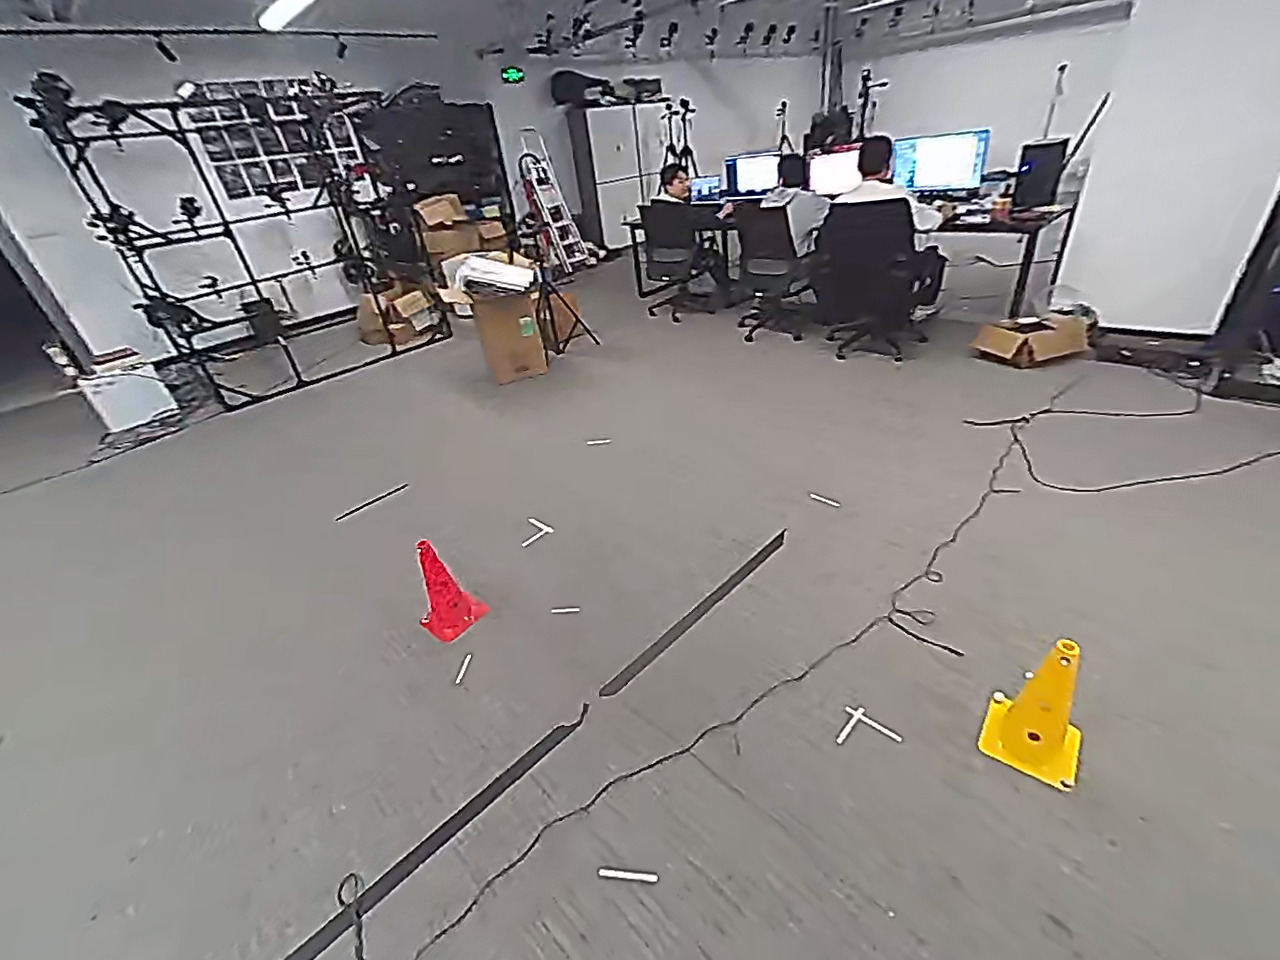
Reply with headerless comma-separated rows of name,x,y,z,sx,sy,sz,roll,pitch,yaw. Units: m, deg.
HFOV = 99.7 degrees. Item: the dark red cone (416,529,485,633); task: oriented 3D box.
dark red cone,-0.724,0.341,1.934,0.201,0.394,0.202,18,41,34
